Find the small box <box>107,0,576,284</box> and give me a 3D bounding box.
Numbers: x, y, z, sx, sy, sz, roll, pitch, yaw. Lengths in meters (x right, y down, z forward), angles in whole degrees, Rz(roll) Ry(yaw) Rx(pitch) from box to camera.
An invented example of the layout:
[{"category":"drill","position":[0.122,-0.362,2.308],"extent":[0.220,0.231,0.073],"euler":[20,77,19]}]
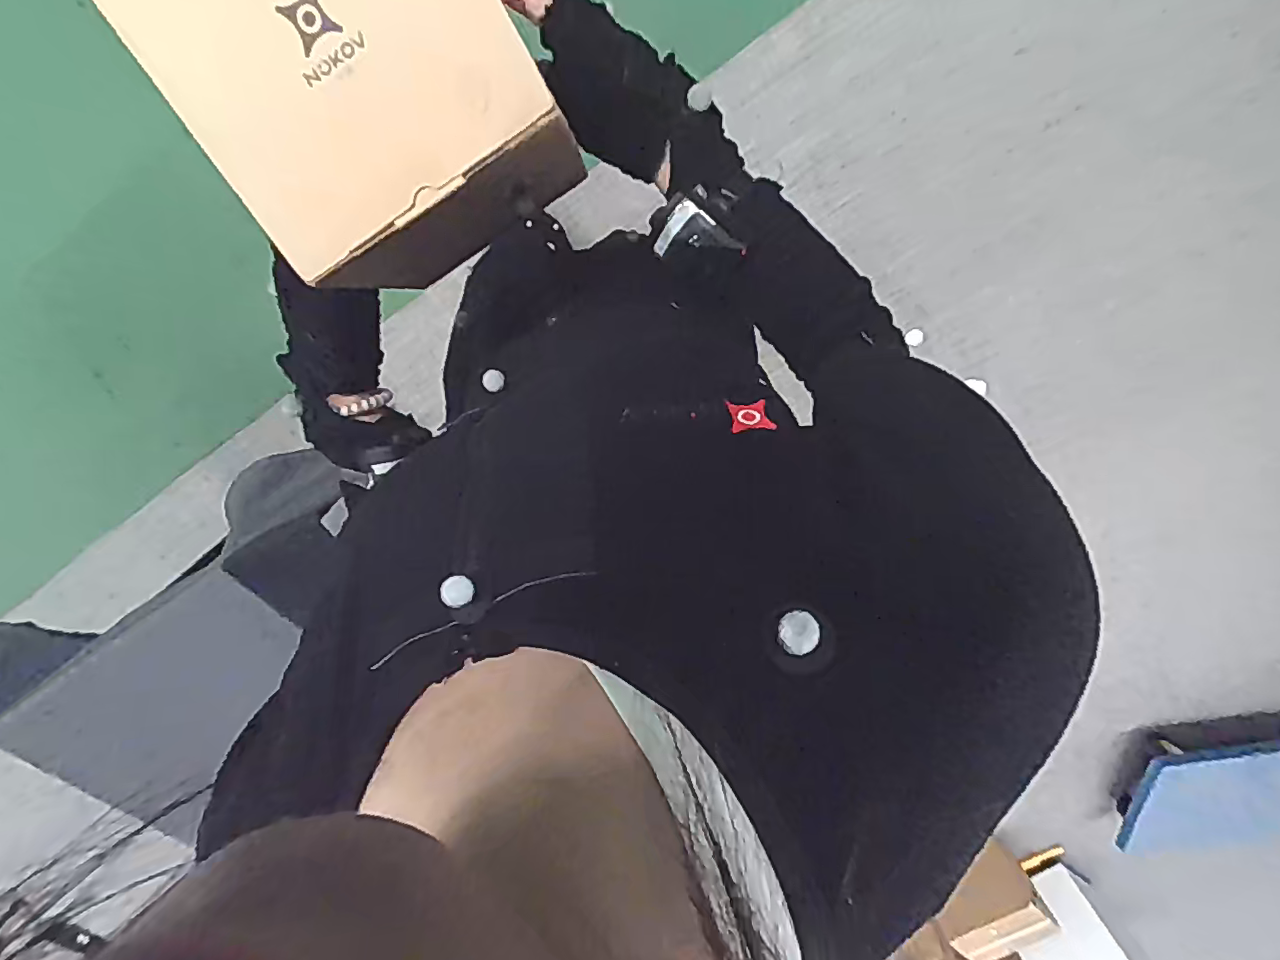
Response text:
[{"category":"small box","position":[-0.155,-0.245,0.340],"extent":[0.168,0.176,0.179],"euler":[-29,107,9]}]
